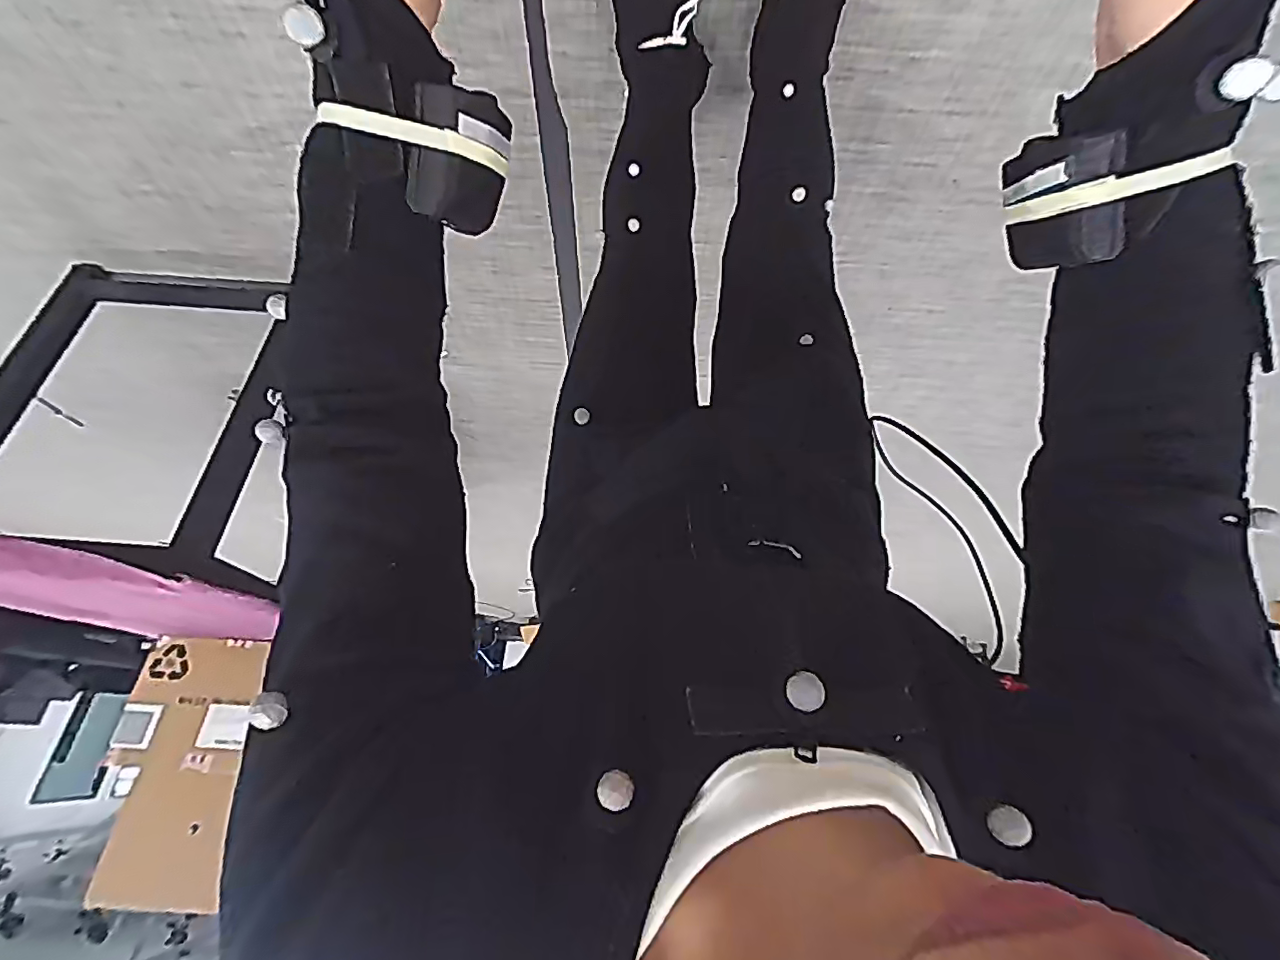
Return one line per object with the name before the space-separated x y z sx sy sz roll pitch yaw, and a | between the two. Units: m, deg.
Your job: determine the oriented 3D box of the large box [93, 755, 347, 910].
large box | -1.105 0.937 1.480 0.408 0.320 0.320 3 155 0
